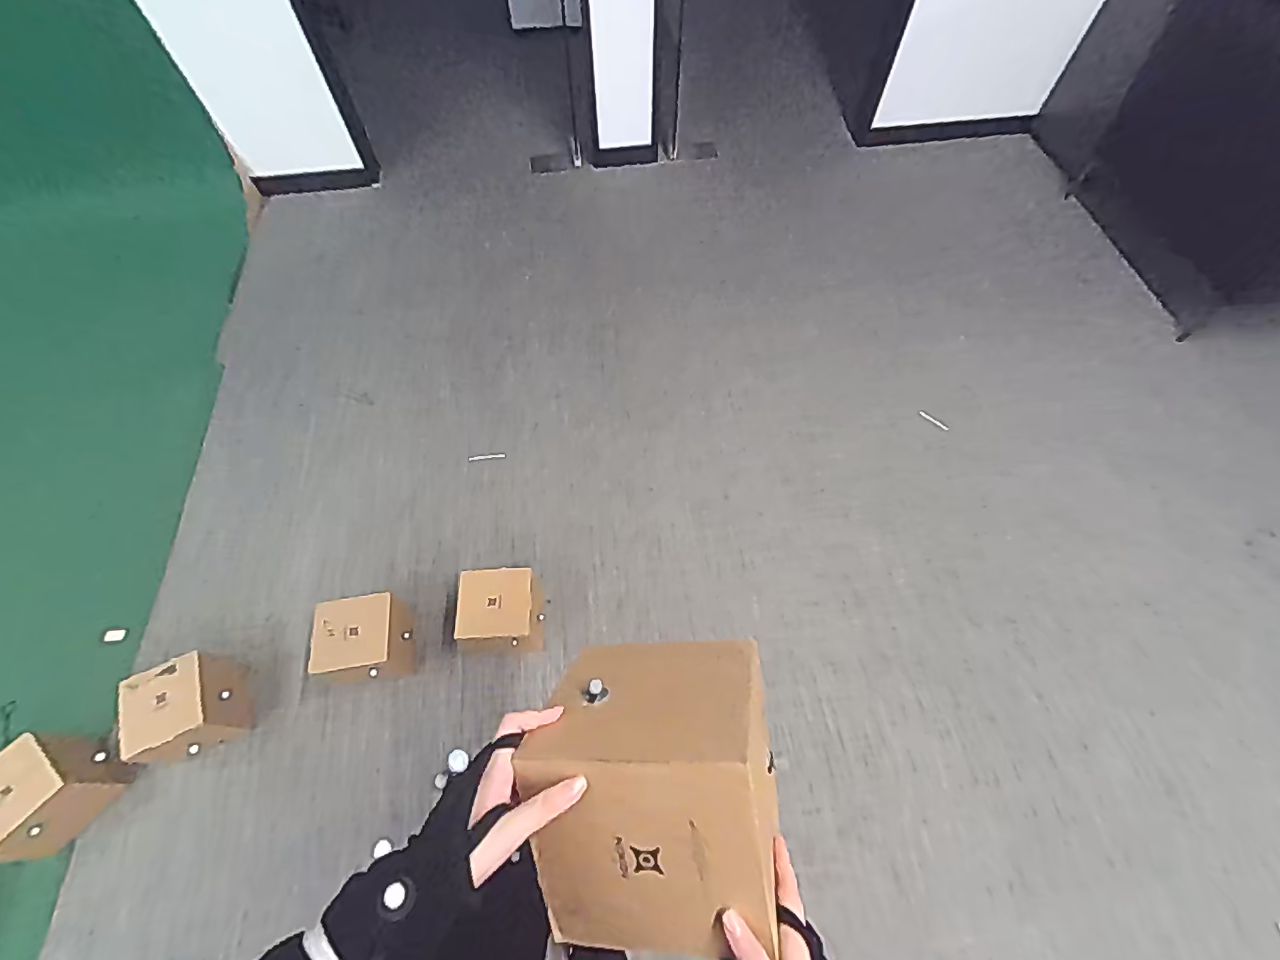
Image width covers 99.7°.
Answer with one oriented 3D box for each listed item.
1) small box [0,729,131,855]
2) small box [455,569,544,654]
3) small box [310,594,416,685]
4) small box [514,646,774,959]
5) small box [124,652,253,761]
[{"bbox_3d":[-1.277,0.672,1.163,0.168,0.176,0.179,34,66,18],"label":"small box"},{"bbox_3d":[-0.342,0.332,1.350,0.179,0.176,0.168,-3,61,-2],"label":"small box"},{"bbox_3d":[-0.661,0.392,1.315,0.179,0.176,0.168,-8,61,-5],"label":"small box"},{"bbox_3d":[0.019,0.257,0.466,0.179,0.176,0.168,-6,100,15],"label":"small box"},{"bbox_3d":[-1.031,0.523,1.245,0.168,0.176,0.179,-23,64,-12],"label":"small box"}]
